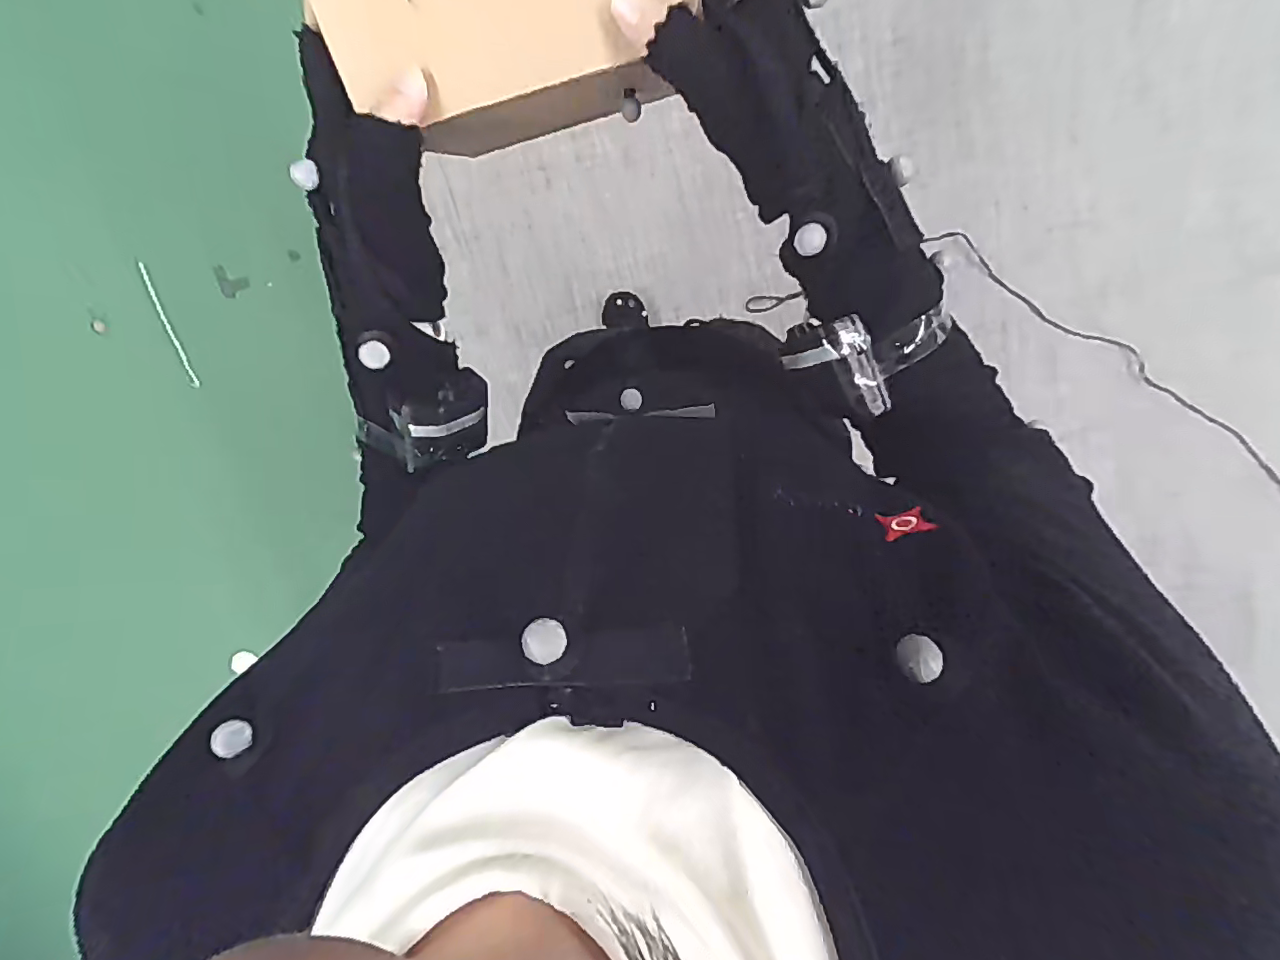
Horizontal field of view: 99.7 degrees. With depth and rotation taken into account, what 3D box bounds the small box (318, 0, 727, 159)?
[{"bbox_3d":[-0.066,-0.290,0.287,0.179,0.176,0.168,-16,117,10],"label":"small box"}]
